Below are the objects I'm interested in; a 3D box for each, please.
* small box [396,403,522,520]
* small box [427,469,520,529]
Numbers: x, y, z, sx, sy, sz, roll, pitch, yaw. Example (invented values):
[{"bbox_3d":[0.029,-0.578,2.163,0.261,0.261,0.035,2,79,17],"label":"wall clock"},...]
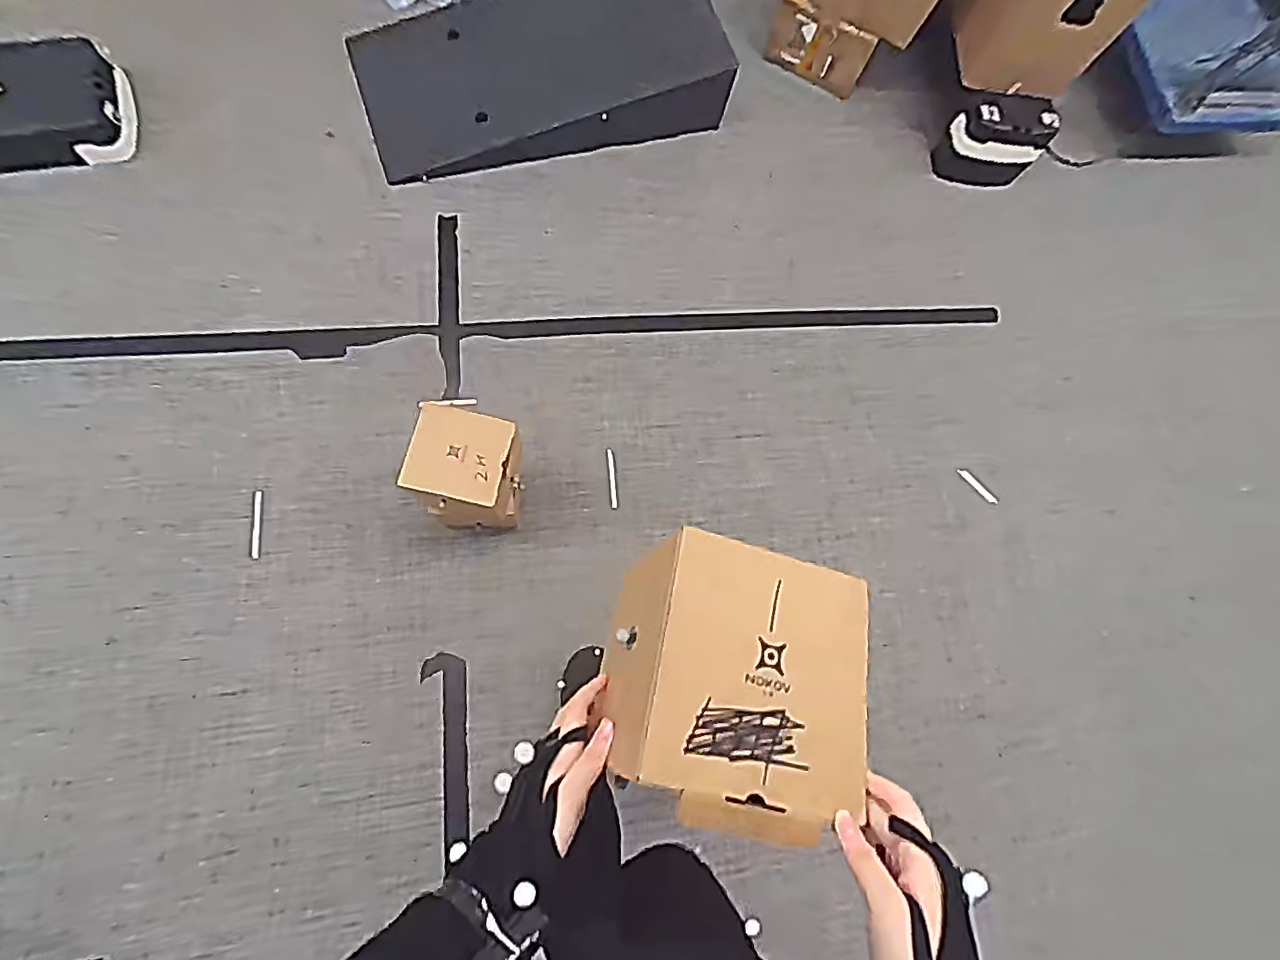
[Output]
[{"bbox_3d":[-0.337,-0.026,1.045,0.179,0.176,0.168,14,76,-5],"label":"small box"},{"bbox_3d":[-0.360,0.015,1.203,0.179,0.176,0.168,2,76,-9],"label":"small box"}]
